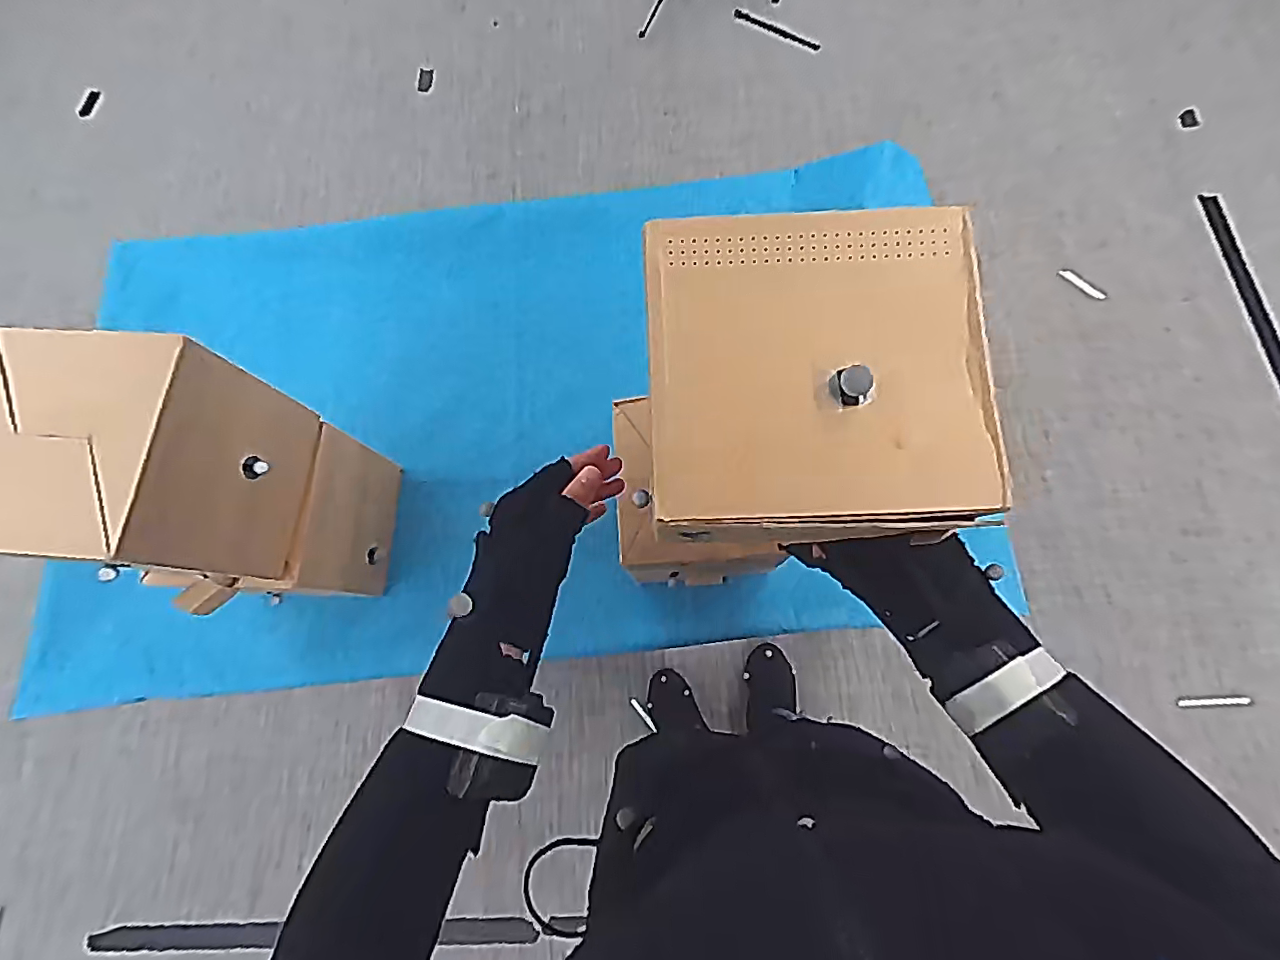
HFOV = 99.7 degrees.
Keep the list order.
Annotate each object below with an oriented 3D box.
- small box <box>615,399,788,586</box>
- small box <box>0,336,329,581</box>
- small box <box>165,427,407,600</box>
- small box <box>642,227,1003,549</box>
[{"bbox_3d":[0.066,0.016,0.609,0.168,0.176,0.179,-6,72,3],"label":"small box"},{"bbox_3d":[-0.423,-0.009,0.482,0.168,0.176,0.179,3,76,5],"label":"small box"},{"bbox_3d":[-0.403,0.046,0.637,0.168,0.176,0.179,0,75,4],"label":"small box"},{"bbox_3d":[0.094,-0.046,0.362,0.179,0.168,0.176,-3,79,1],"label":"small box"}]
